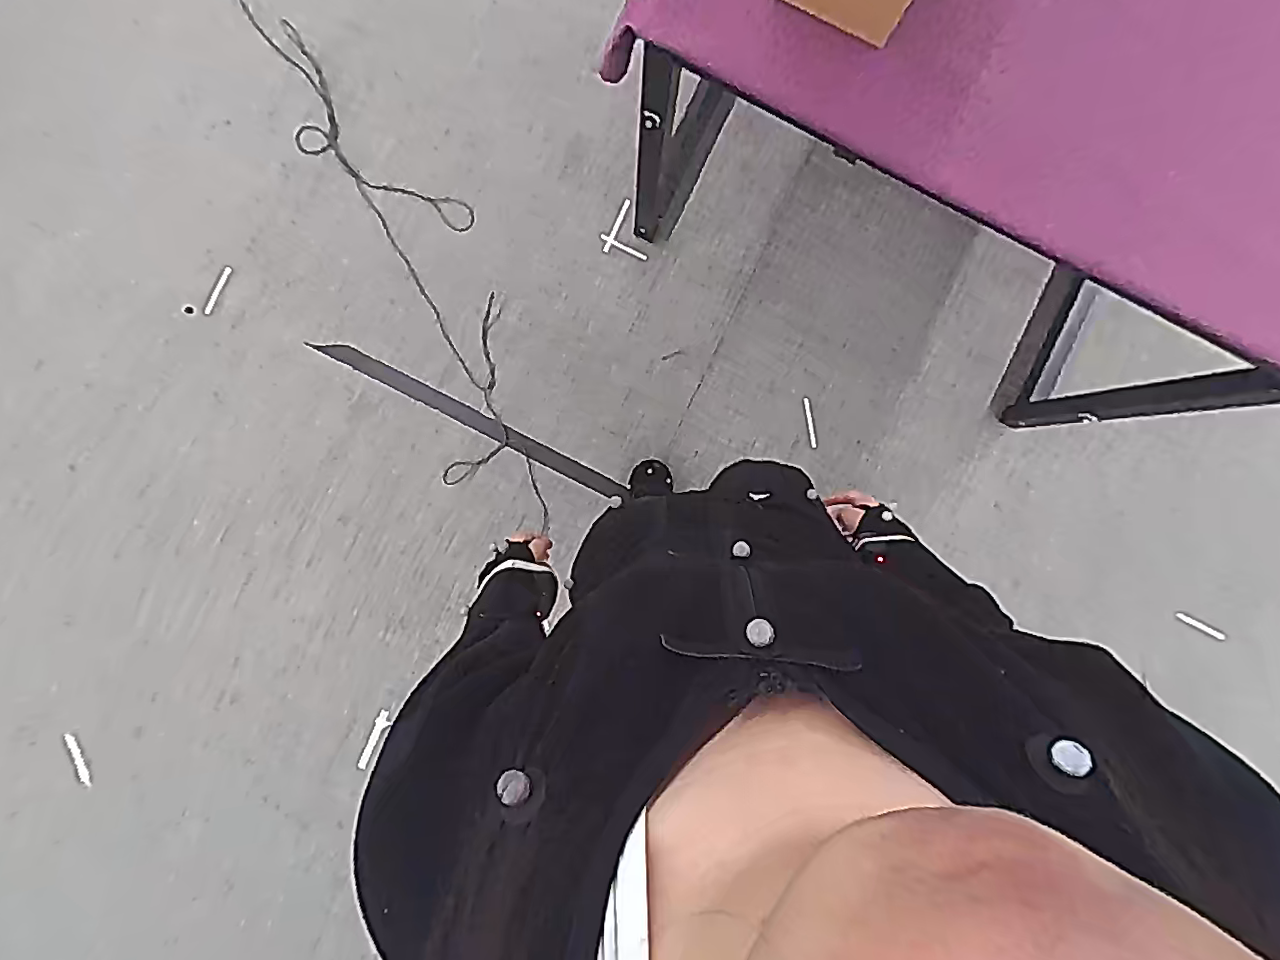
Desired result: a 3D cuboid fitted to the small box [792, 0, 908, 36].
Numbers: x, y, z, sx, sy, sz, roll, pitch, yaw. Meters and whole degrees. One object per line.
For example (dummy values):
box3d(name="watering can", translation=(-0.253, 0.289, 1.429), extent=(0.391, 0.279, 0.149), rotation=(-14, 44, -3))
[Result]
box3d(name="small box", translation=(0.290, -0.703, 0.659), extent=(0.179, 0.176, 0.168), rotation=(23, 89, -2))
